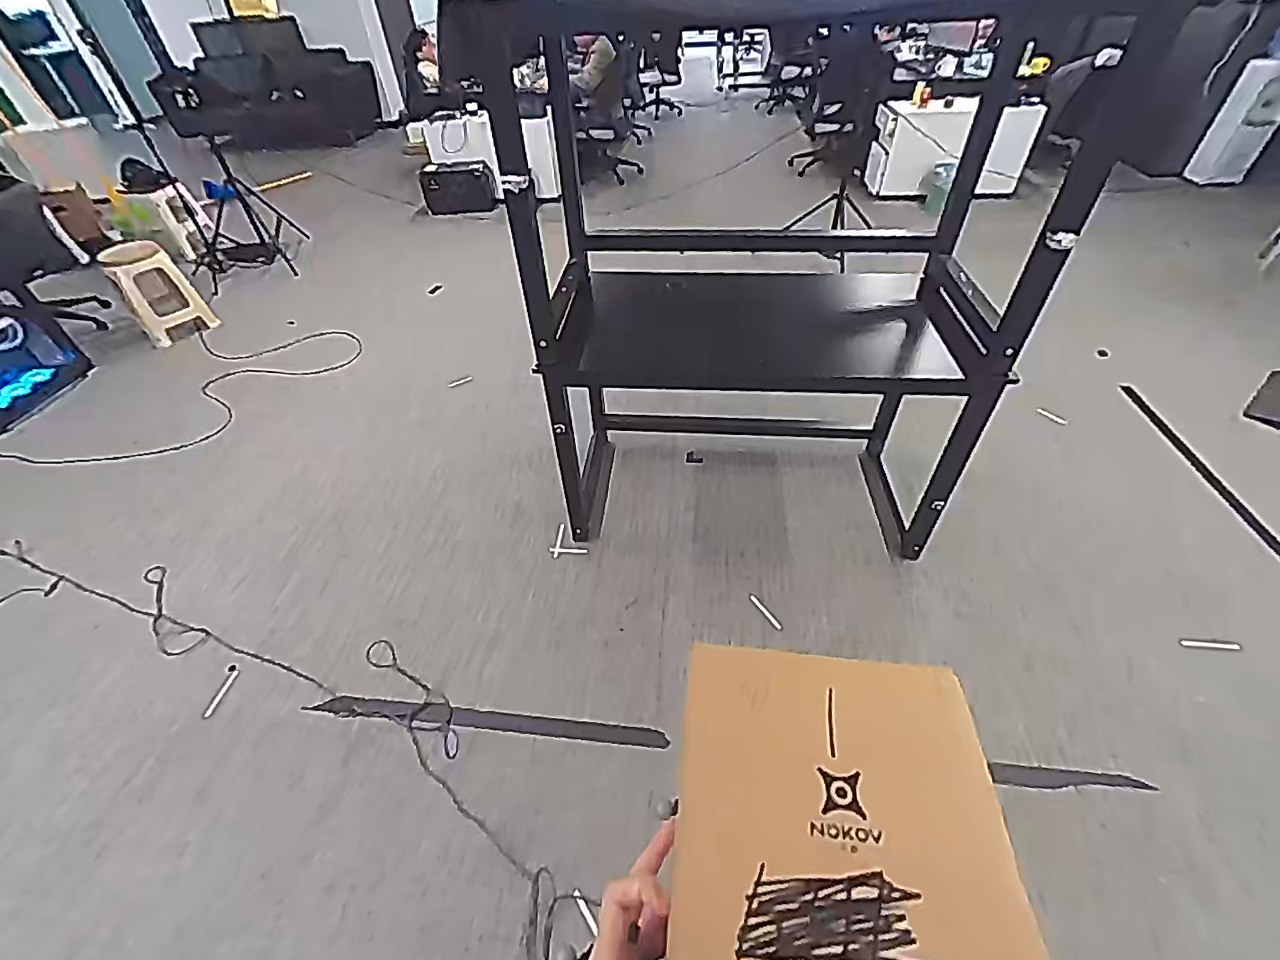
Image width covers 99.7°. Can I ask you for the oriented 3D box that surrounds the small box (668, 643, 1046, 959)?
[{"bbox_3d":[0.106,0.229,0.337,0.168,0.176,0.179,5,44,5],"label":"small box"}]
